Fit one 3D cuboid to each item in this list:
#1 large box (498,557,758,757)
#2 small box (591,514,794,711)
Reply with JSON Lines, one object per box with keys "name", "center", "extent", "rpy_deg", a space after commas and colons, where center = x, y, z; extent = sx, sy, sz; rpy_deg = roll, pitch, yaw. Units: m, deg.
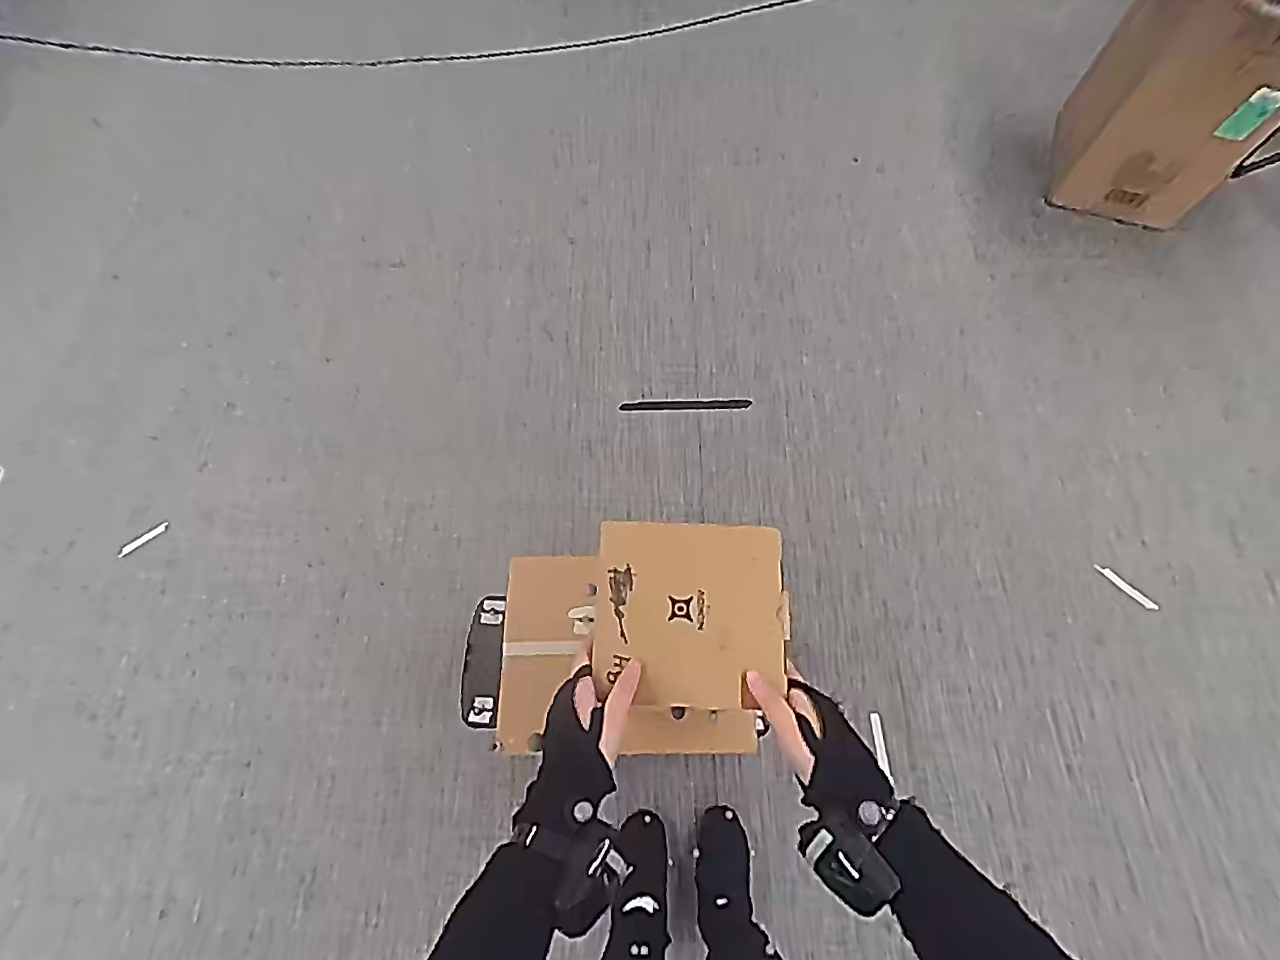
{"name": "large box", "center": [-0.016, 0.330, 1.015], "extent": [0.408, 0.320, 0.320], "rpy_deg": [-1, 67, 2]}
{"name": "small box", "center": [0.047, 0.141, 0.559], "extent": [0.179, 0.176, 0.168], "rpy_deg": [3, 69, 0]}
